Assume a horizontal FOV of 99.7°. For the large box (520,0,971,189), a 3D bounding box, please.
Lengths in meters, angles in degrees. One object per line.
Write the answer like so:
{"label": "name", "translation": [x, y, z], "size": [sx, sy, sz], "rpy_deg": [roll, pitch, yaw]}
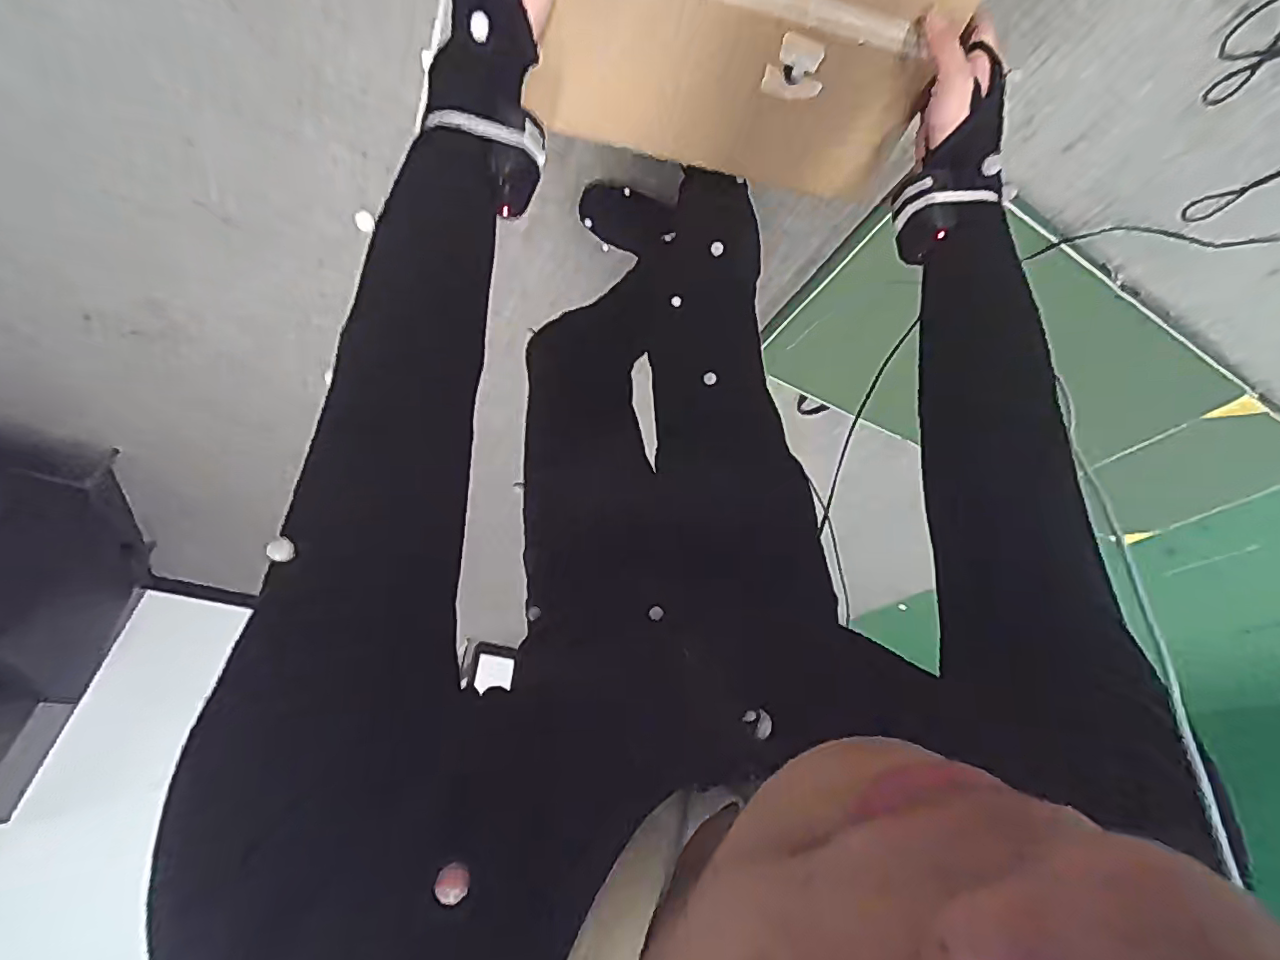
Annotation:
{"label": "large box", "translation": [0.098, -0.568, 0.555], "size": [0.408, 0.320, 0.320], "rpy_deg": [7, 148, -11]}
